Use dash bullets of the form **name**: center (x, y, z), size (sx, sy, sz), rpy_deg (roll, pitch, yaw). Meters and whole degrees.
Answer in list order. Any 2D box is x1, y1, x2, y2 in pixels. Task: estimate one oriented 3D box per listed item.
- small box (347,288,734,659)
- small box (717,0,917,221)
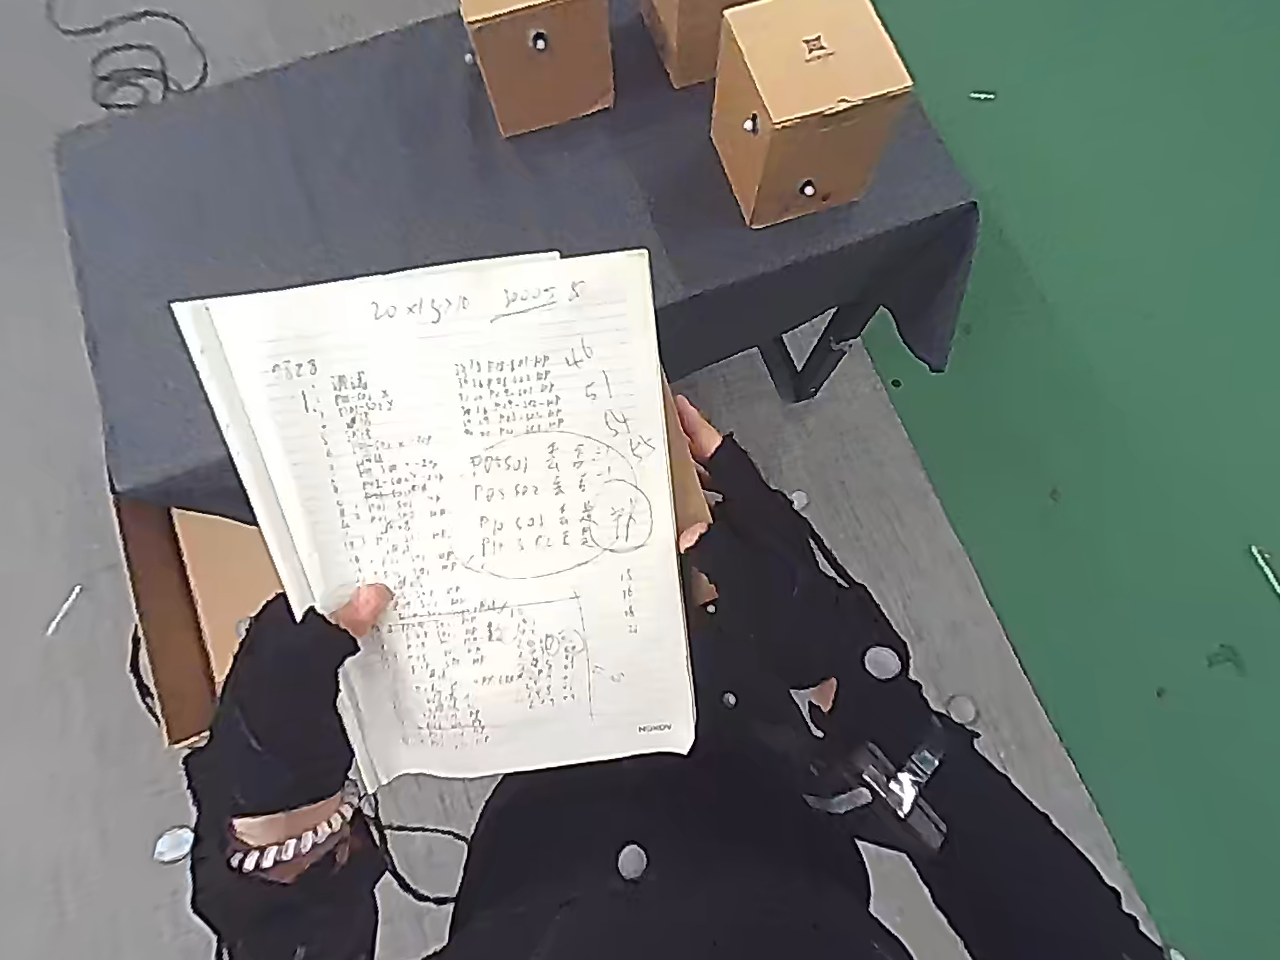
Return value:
- **small box**: center (-0.055, -0.007, 0.375), size (0.179, 0.176, 0.168), rpy_deg (-19, 95, -2)
- **small box**: center (0.206, -0.472, 0.687), size (0.168, 0.176, 0.179), rpy_deg (-16, 77, -2)
